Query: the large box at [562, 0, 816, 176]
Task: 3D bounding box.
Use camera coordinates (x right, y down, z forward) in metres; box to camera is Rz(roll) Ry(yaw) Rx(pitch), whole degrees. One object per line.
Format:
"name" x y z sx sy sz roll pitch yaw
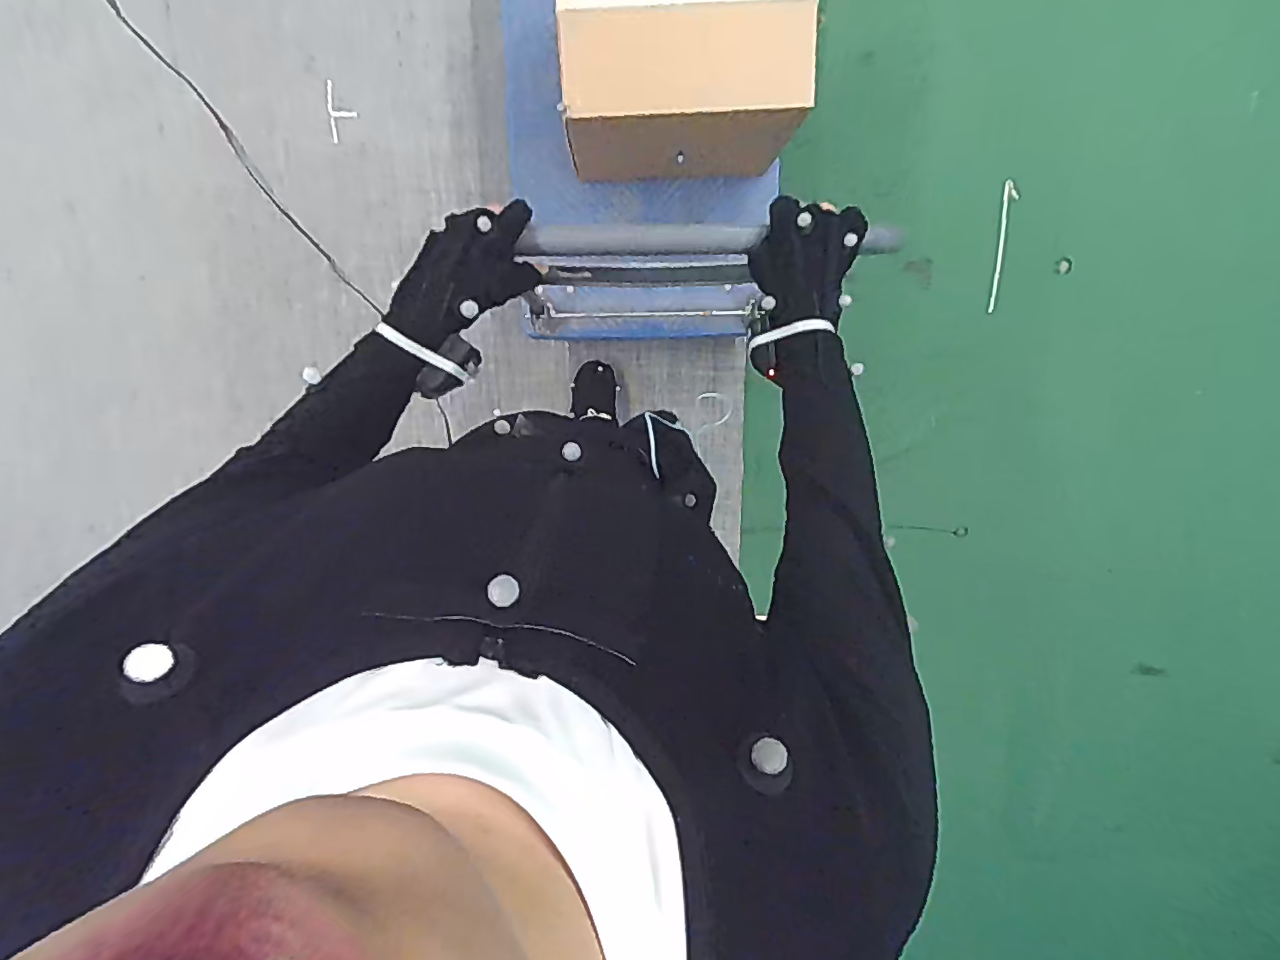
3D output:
"large box" 0.078 -0.783 0.990 0.408 0.320 0.320 -4 102 1
